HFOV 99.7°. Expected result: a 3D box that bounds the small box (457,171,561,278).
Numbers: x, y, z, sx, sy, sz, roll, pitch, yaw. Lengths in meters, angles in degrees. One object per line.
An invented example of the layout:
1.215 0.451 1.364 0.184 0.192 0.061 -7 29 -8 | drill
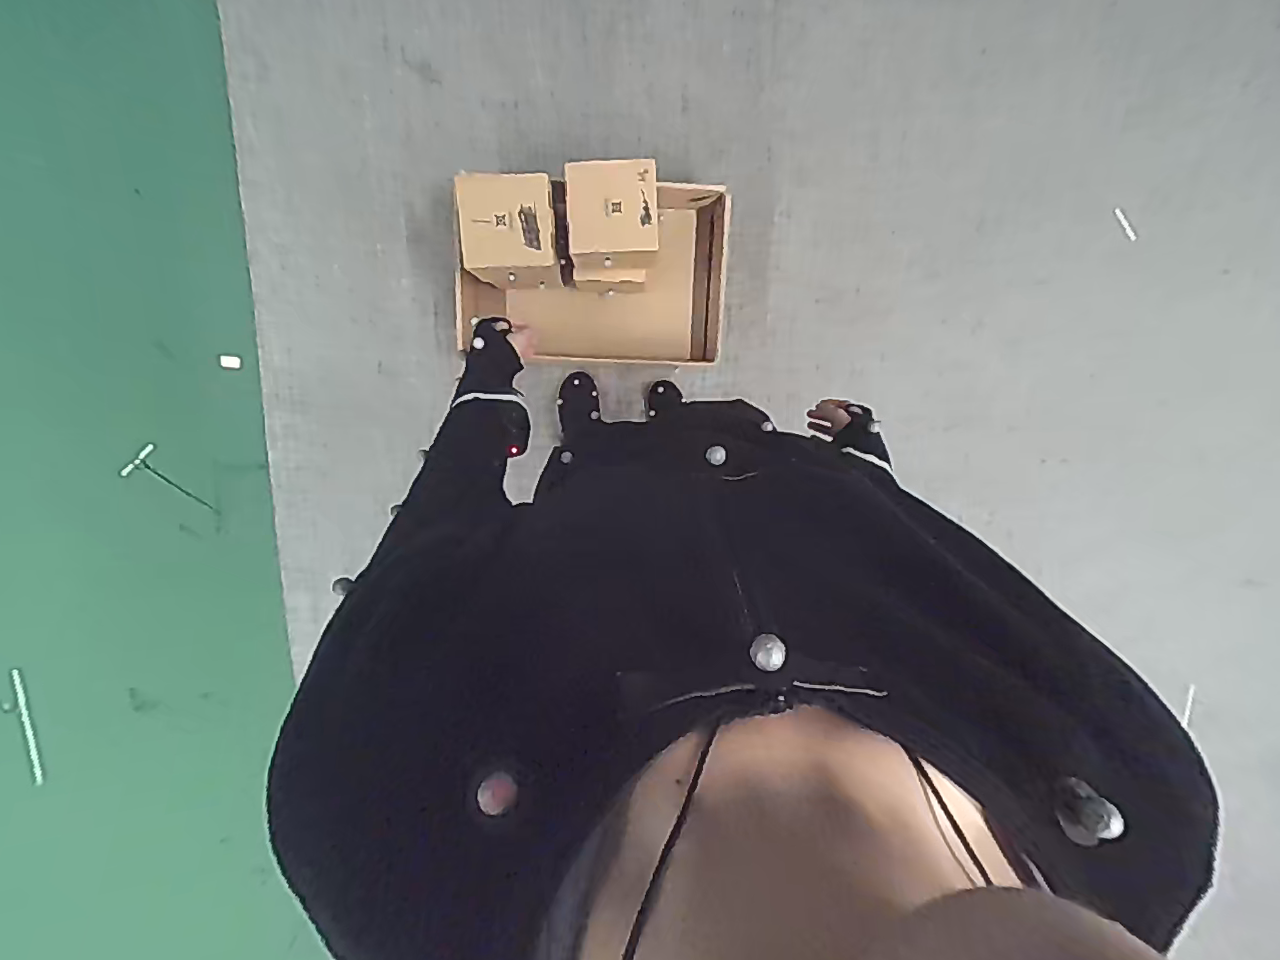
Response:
-0.257 -0.513 1.102 0.179 0.176 0.168 -2 102 -1 | small box

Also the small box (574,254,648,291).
-0.061 -0.550 1.267 0.168 0.176 0.179 3 101 0 | small box

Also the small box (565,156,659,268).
-0.051 -0.537 1.103 0.179 0.176 0.168 -2 101 1 | small box
